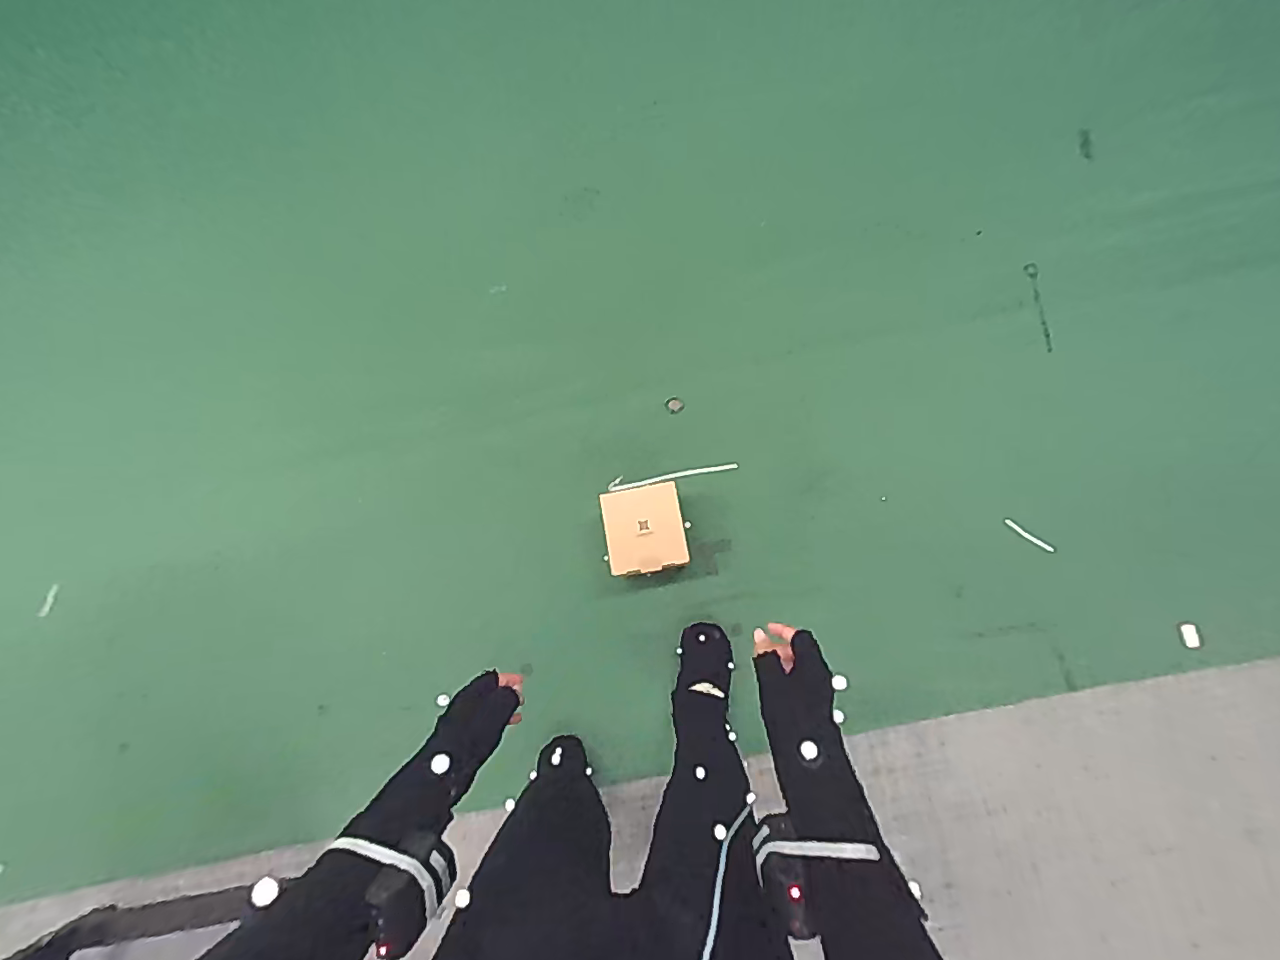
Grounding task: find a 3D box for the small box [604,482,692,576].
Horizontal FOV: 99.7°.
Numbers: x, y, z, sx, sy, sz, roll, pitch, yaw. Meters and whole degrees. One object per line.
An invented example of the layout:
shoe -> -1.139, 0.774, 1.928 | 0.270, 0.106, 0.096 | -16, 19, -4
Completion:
small box -> 0.020, 0.116, 1.216 | 0.168, 0.176, 0.179 | -11, 79, 3
